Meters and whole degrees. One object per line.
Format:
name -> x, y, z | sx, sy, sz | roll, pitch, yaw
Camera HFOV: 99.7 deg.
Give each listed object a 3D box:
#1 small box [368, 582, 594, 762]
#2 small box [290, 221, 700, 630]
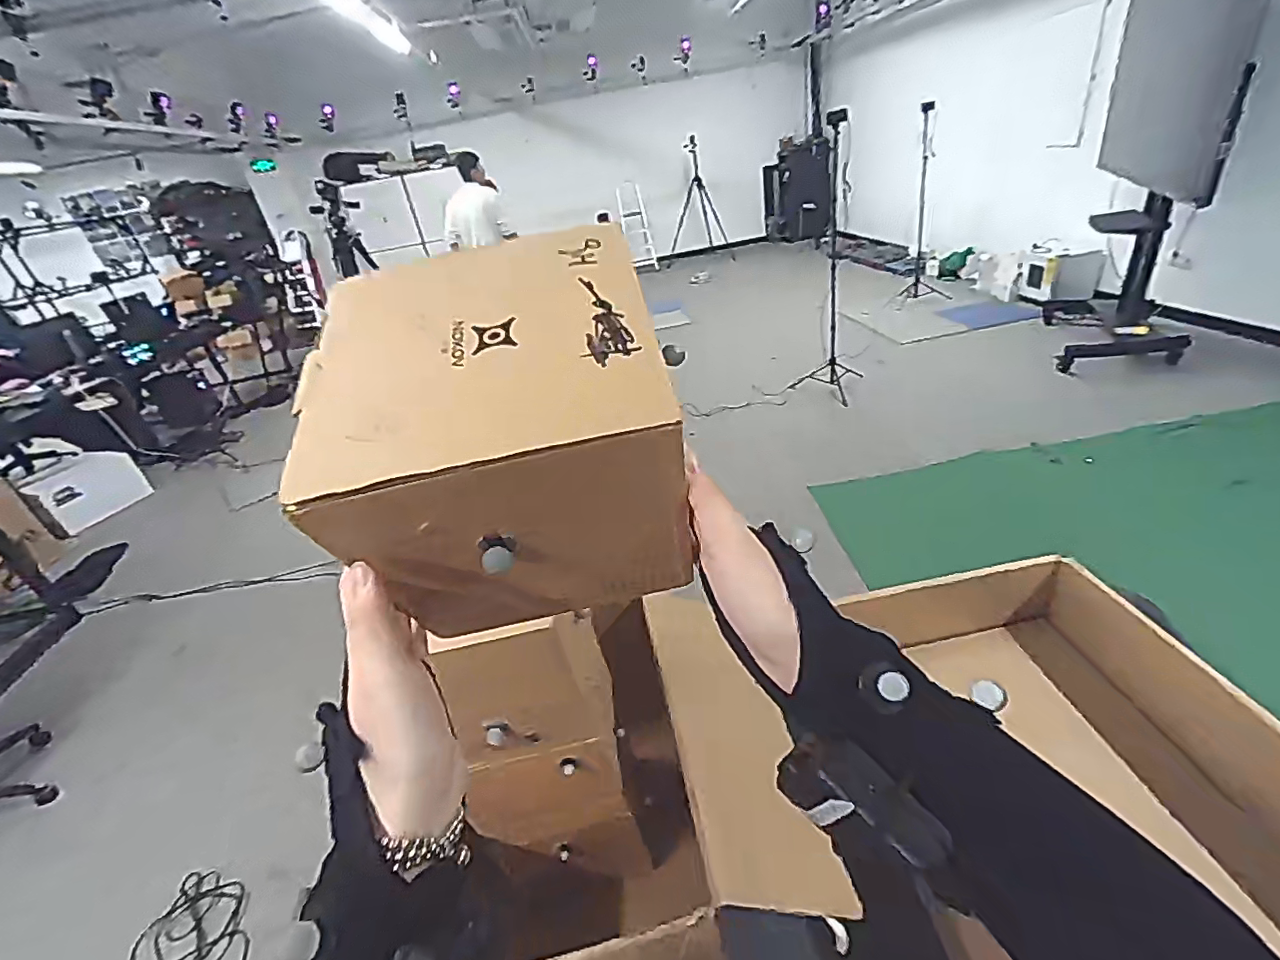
small box -> -0.149, 0.160, 0.572 | 0.168, 0.176, 0.179 | -13, 34, 0
small box -> -0.066, -0.022, 0.335 | 0.179, 0.176, 0.168 | -13, 57, 0
